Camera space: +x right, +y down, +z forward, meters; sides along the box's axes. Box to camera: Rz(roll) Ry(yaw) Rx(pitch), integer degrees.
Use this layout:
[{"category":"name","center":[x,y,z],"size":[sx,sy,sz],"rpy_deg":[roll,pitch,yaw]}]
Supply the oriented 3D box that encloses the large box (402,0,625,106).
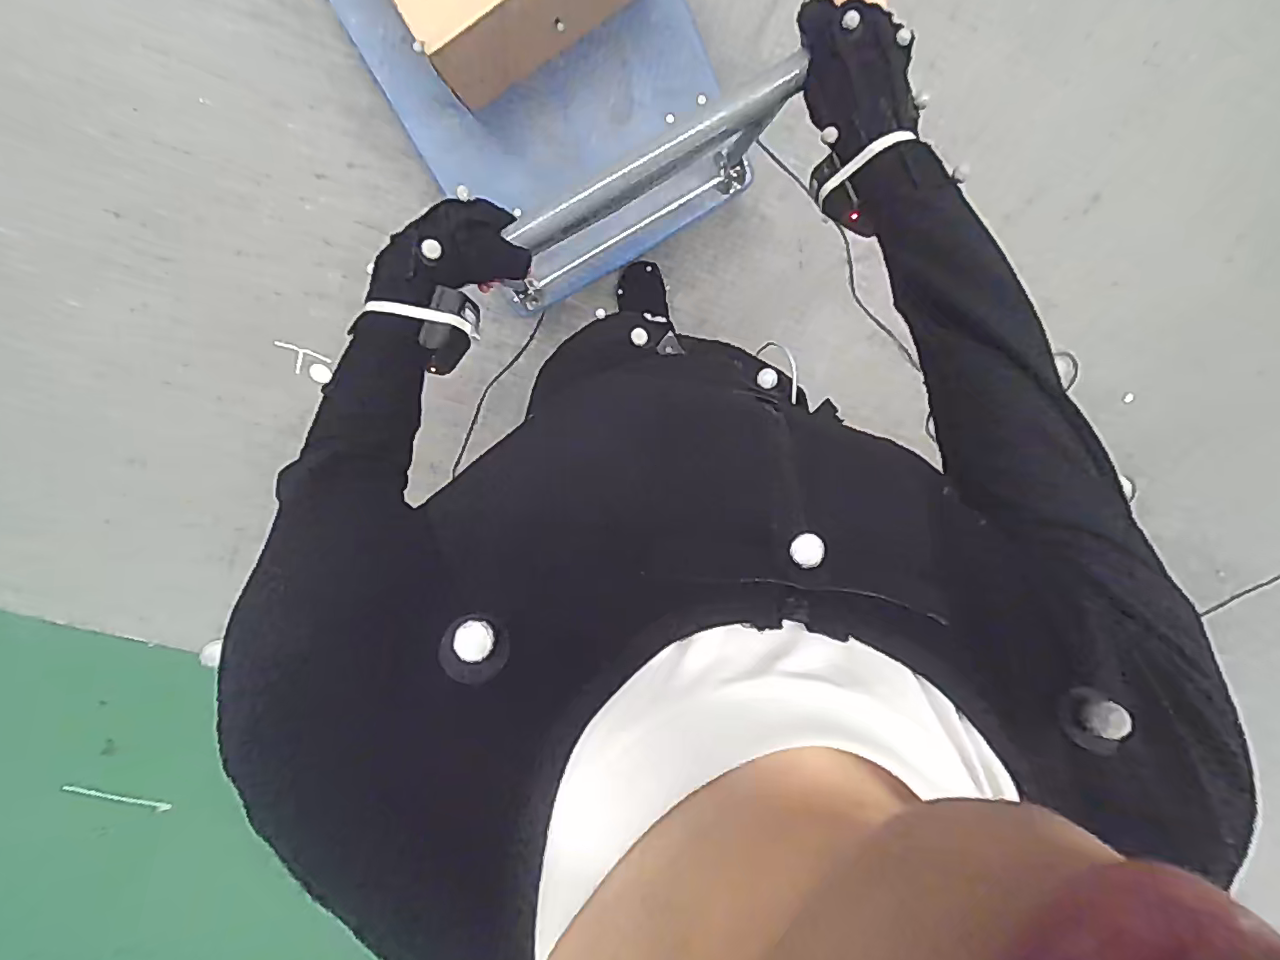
[{"category":"large box","center":[-0.206,-0.874,0.820],"size":[0.408,0.320,0.320],"rpy_deg":[-31,110,8]}]
